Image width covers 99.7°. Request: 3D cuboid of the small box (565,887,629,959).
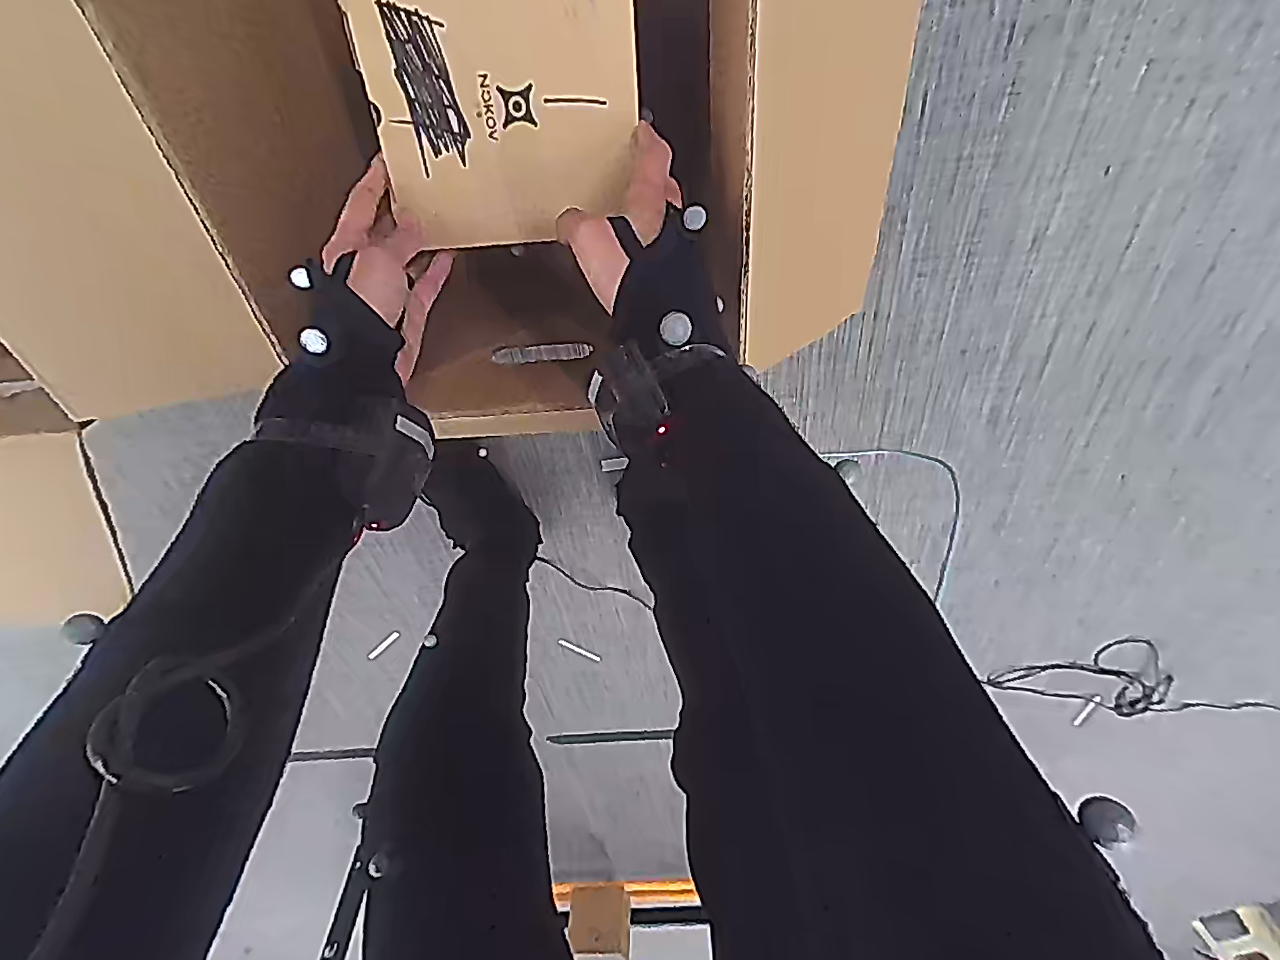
[{"bbox_3d":[-0.133,1.447,1.756,0.179,0.176,0.168,-6,129,5],"label":"small box"}]
